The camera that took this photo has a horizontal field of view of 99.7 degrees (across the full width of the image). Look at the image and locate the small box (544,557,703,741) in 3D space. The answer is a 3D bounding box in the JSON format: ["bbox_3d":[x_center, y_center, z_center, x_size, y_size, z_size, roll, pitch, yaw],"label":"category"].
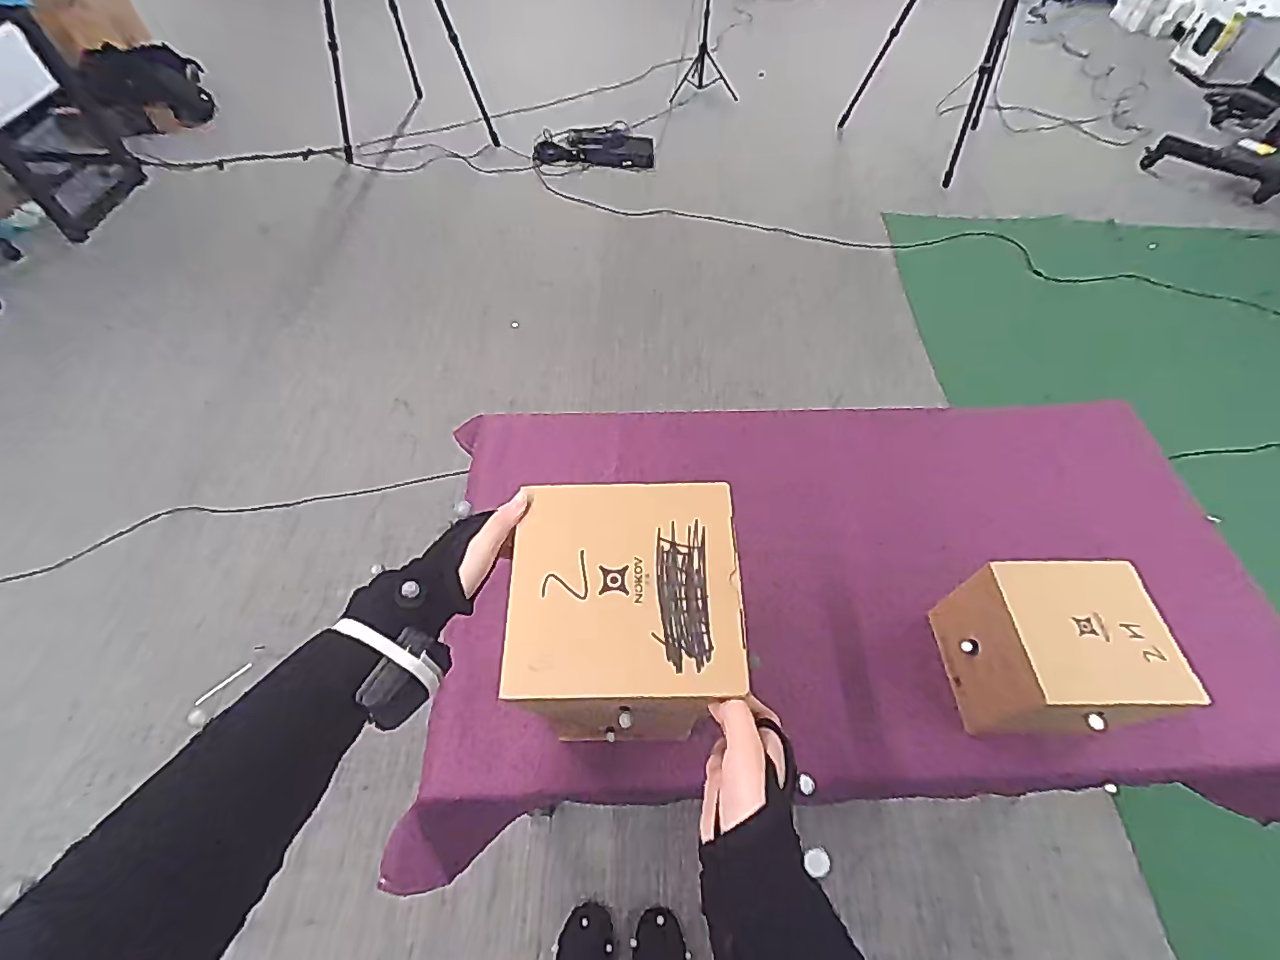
[{"bbox_3d":[-0.020,0.210,0.663,0.168,0.176,0.179,0,56,-2],"label":"small box"}]

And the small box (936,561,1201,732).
[{"bbox_3d":[0.501,0.212,0.674,0.179,0.176,0.168,0,56,-1],"label":"small box"}]
